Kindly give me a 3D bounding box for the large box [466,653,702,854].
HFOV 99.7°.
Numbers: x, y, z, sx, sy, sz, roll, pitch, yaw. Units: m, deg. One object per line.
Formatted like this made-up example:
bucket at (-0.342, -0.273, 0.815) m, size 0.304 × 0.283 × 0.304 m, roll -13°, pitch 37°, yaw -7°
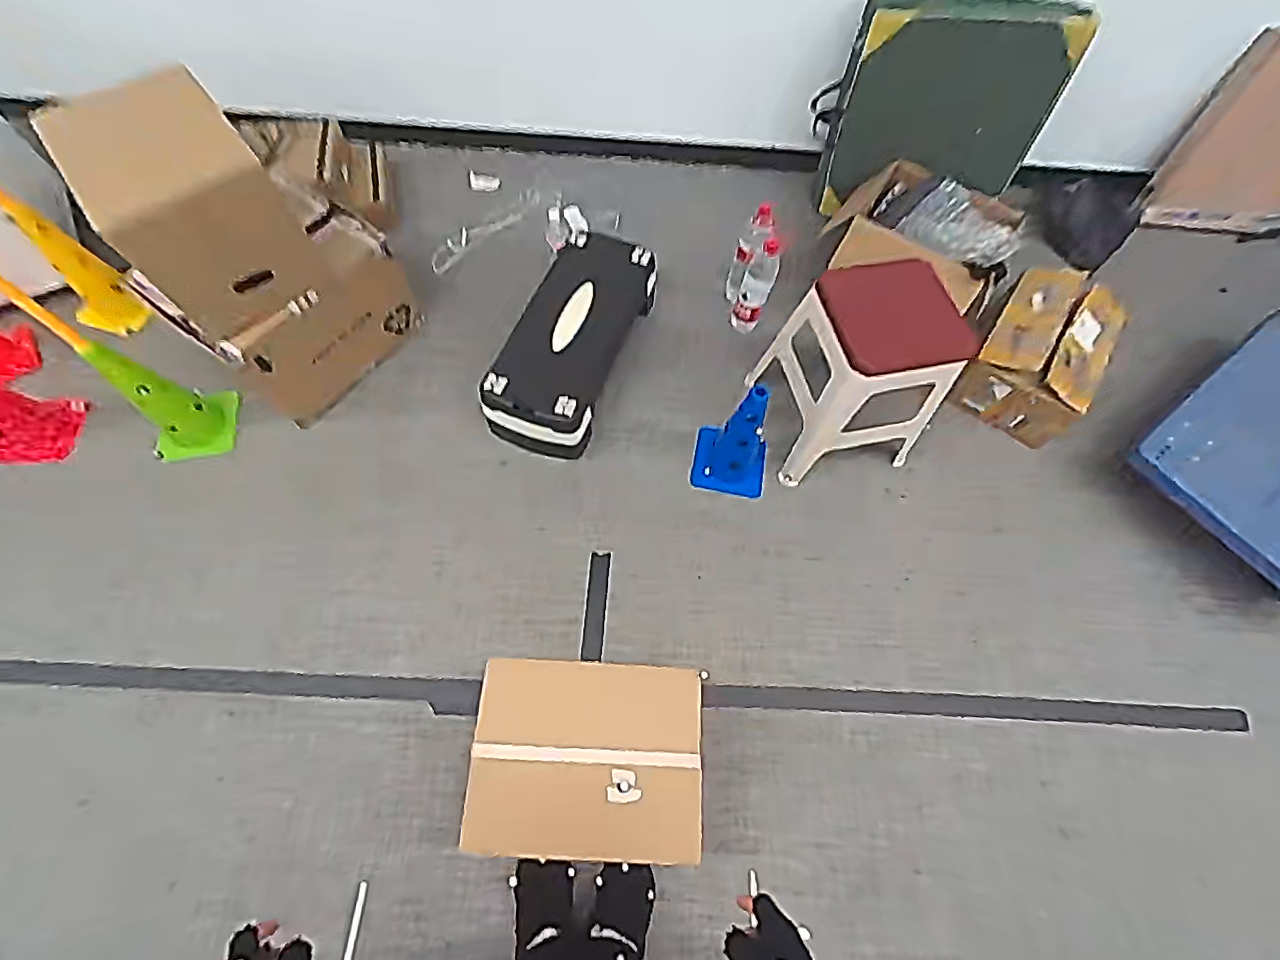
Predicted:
large box at (-0.099, 0.541, 1.097) m, size 0.408 × 0.320 × 0.320 m, roll 4°, pitch 66°, yaw -2°
